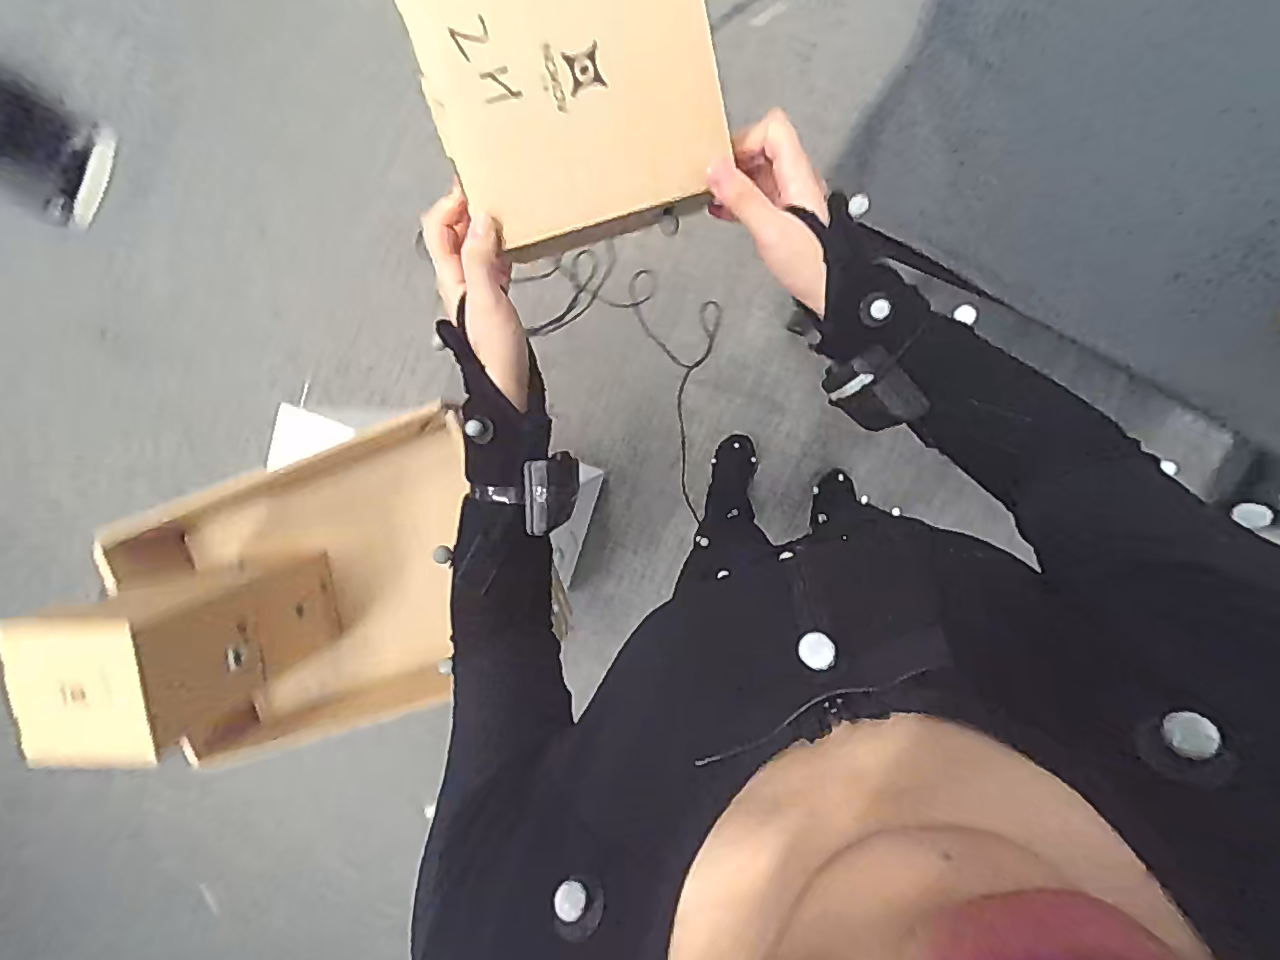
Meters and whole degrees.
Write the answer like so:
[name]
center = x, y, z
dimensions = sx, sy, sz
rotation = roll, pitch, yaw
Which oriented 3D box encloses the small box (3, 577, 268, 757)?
[small box]
center = -0.634, 0.231, 0.702
dimensions = 0.179, 0.176, 0.168
rotation = -4, 98, 6
